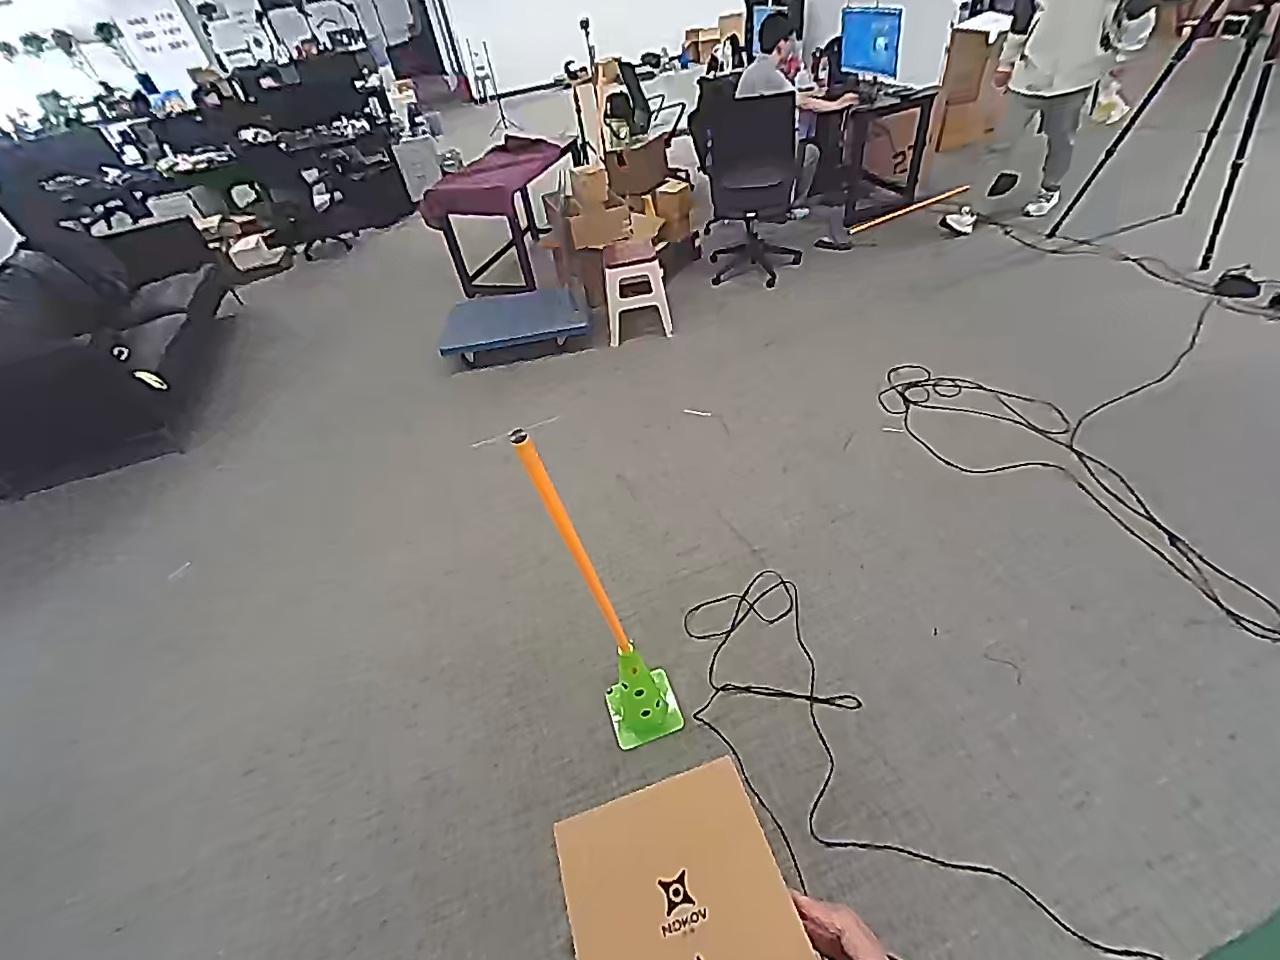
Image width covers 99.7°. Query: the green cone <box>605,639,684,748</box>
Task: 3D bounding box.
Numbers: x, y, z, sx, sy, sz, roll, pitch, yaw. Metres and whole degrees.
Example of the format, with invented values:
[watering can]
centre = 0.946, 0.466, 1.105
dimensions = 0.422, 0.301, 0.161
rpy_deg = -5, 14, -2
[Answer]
[green cone]
centre = -0.009, 0.555, 1.494
dimensions = 0.202, 0.368, 0.200
rpy_deg = -17, 44, -9
